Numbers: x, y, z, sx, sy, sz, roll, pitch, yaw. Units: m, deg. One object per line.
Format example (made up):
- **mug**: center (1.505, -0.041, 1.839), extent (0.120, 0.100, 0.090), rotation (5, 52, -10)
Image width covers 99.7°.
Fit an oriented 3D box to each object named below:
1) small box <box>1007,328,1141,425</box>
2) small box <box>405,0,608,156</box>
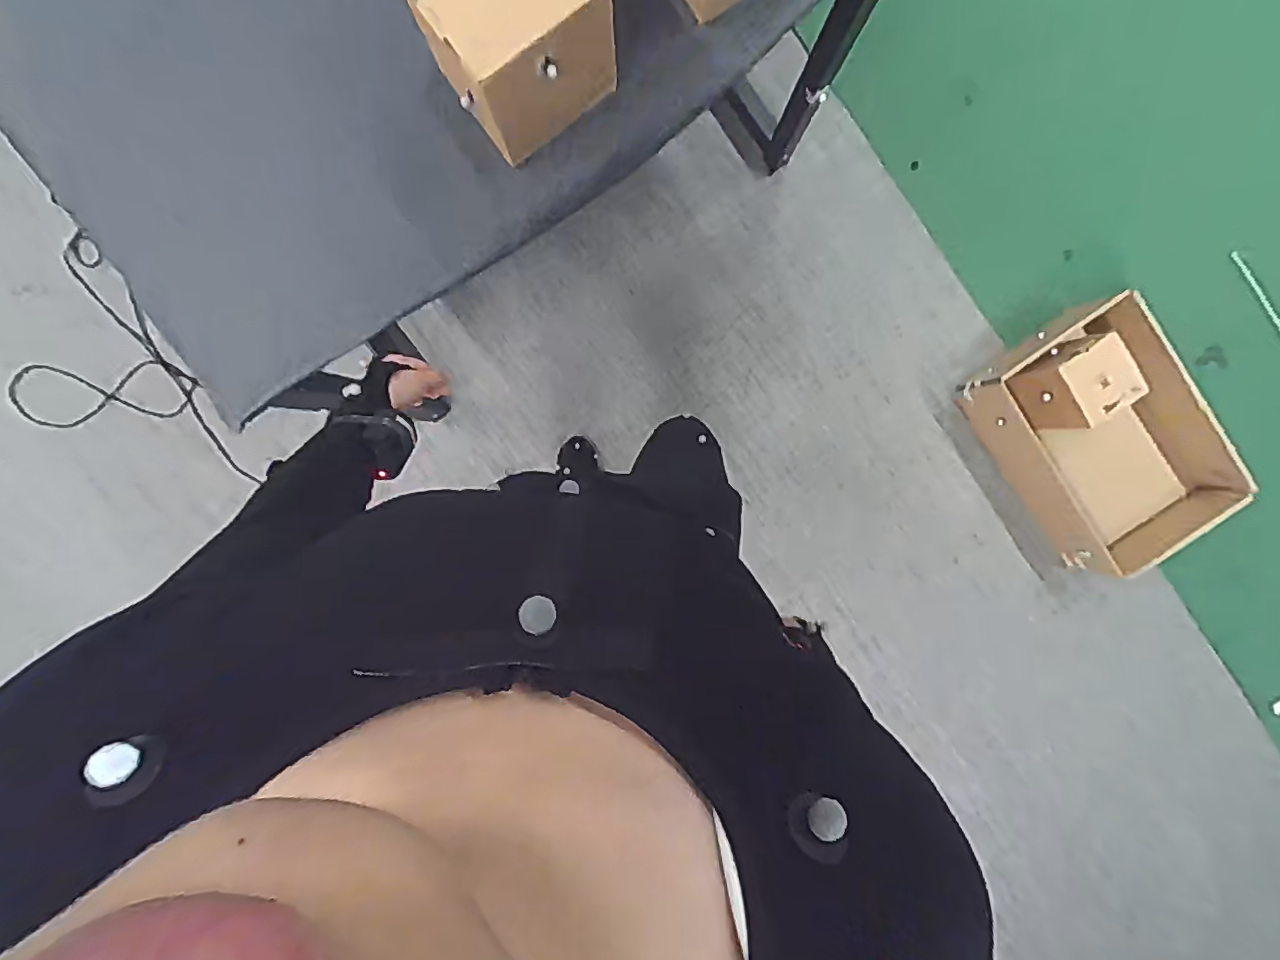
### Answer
- **small box**: center (1.082, -0.251, 1.366), extent (0.168, 0.176, 0.179), rotation (-34, 94, 2)
- **small box**: center (-0.150, -0.526, 0.625), extent (0.179, 0.176, 0.168), rotation (-37, 94, 0)
